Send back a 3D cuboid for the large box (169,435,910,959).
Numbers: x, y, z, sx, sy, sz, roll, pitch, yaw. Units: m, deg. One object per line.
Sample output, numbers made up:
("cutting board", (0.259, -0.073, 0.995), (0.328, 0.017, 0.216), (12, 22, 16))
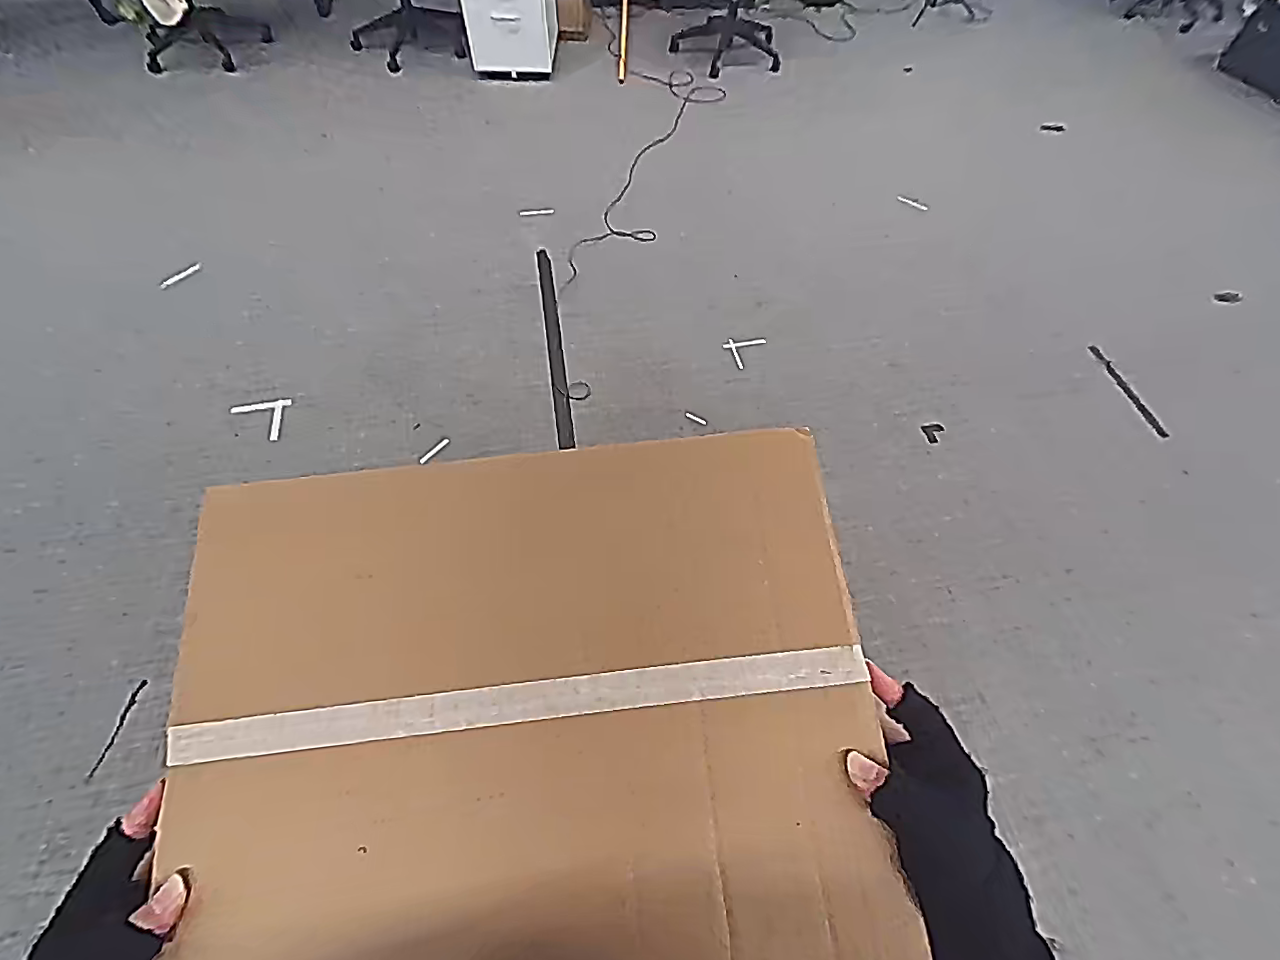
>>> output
("large box", (-0.067, 0.182, 0.470), (0.408, 0.320, 0.320), (-6, 73, -1))
